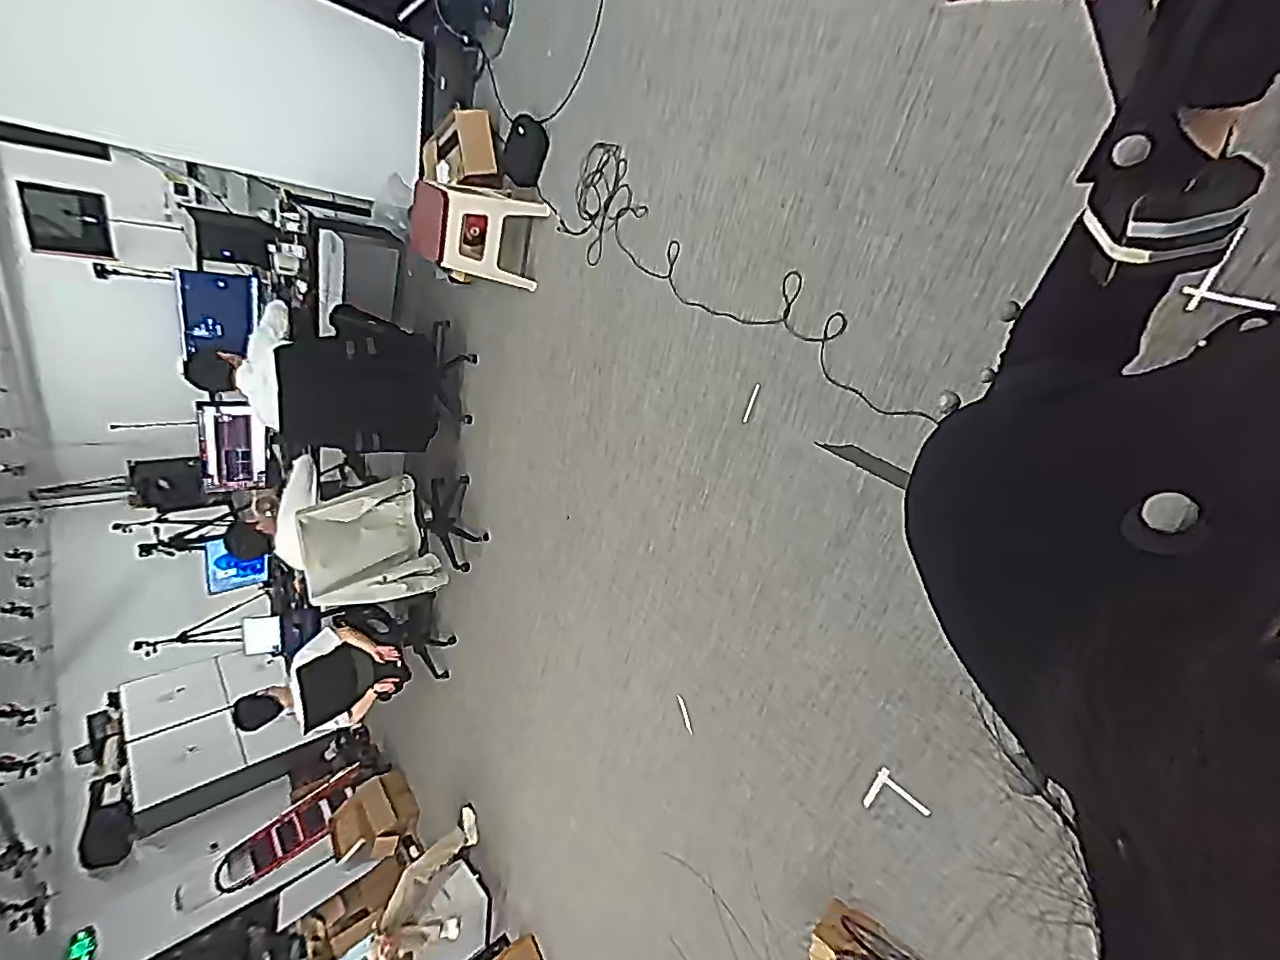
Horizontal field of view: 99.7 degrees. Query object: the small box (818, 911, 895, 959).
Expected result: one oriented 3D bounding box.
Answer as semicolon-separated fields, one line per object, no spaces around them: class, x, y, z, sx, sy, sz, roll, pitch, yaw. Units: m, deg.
small box;0.687;1.534;1.725;0.179;0.176;0.168;13;107;44
